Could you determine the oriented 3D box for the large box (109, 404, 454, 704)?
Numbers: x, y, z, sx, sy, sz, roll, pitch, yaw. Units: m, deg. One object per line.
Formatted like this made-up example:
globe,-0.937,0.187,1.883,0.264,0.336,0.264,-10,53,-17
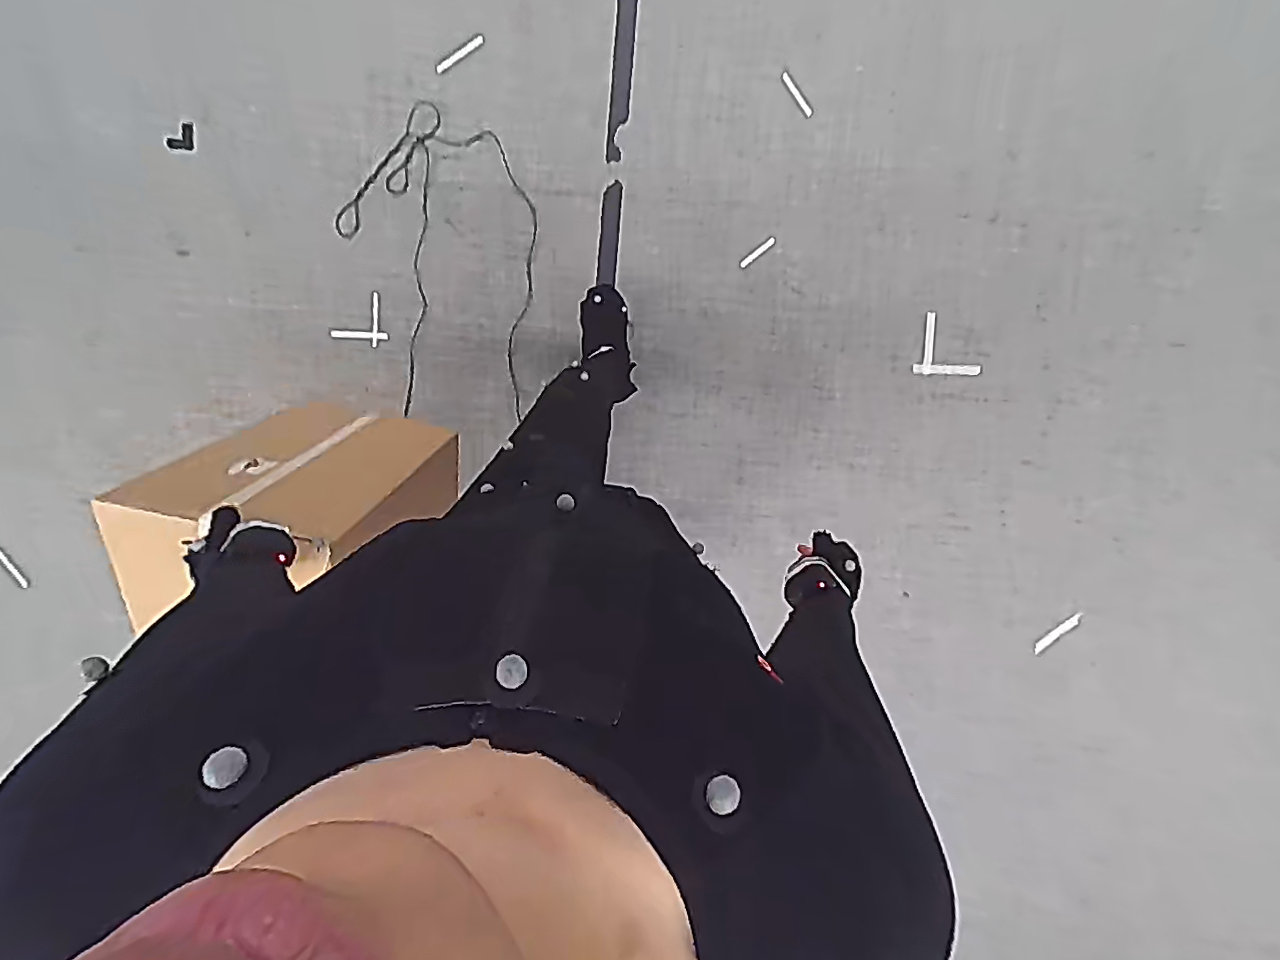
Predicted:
large box,-0.547,0.099,0.938,0.320,0.408,0.320,10,117,2
